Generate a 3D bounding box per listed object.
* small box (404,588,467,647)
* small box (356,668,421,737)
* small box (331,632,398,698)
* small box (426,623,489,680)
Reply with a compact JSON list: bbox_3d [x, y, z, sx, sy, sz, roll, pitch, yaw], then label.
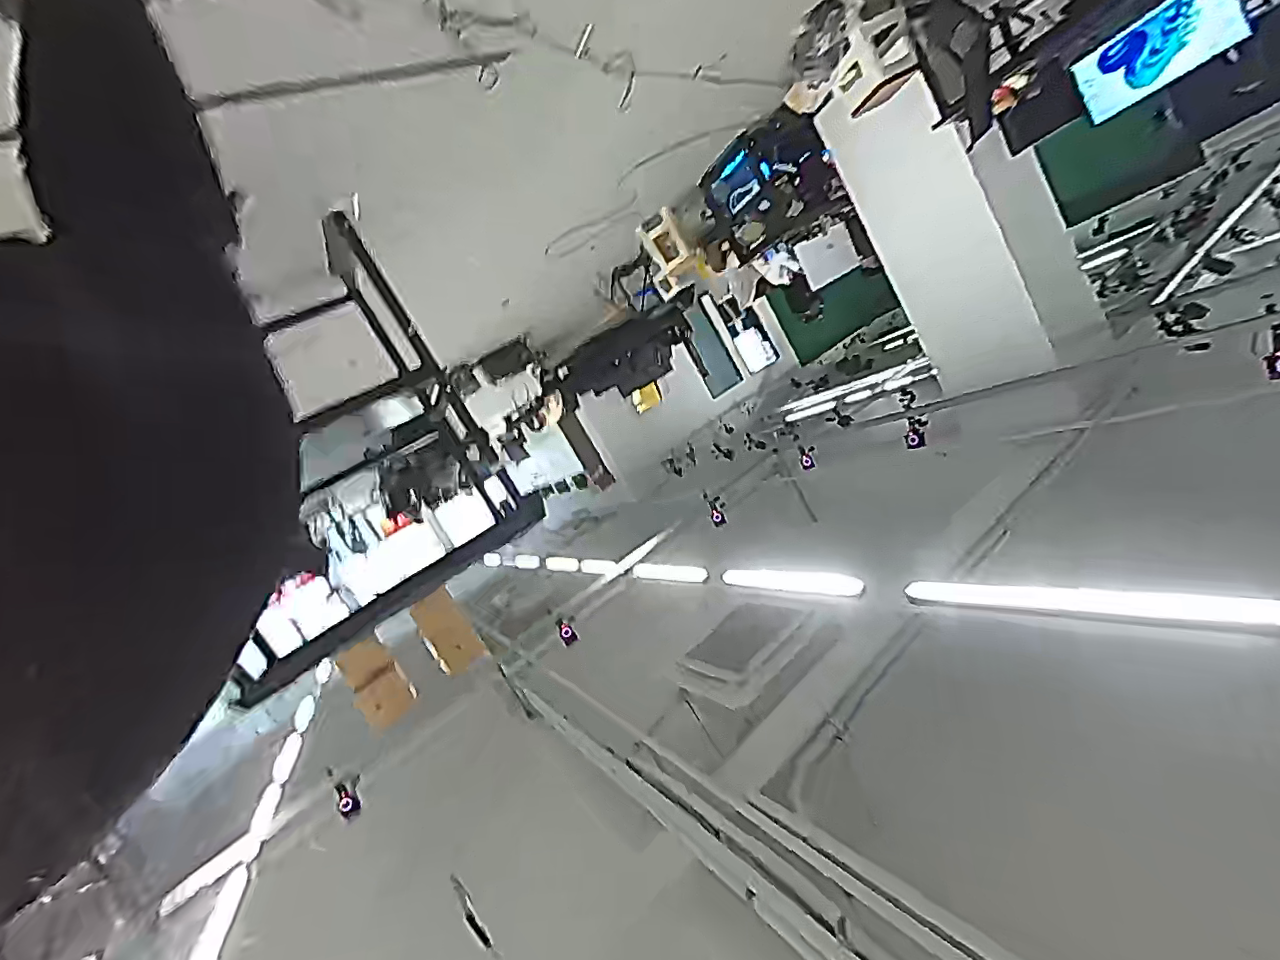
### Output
[{"bbox_3d":[-0.839,0.554,2.206,0.168,0.176,0.179,-35,-169,-28],"label":"small box"},{"bbox_3d":[-0.964,0.839,2.068,0.168,0.176,0.179,-33,-171,-25],"label":"small box"},{"bbox_3d":[-1.061,0.705,2.073,0.168,0.176,0.179,-36,-169,-31],"label":"small box"},{"bbox_3d":[-0.759,0.695,2.233,0.168,0.176,0.179,-35,-170,-31],"label":"small box"}]
